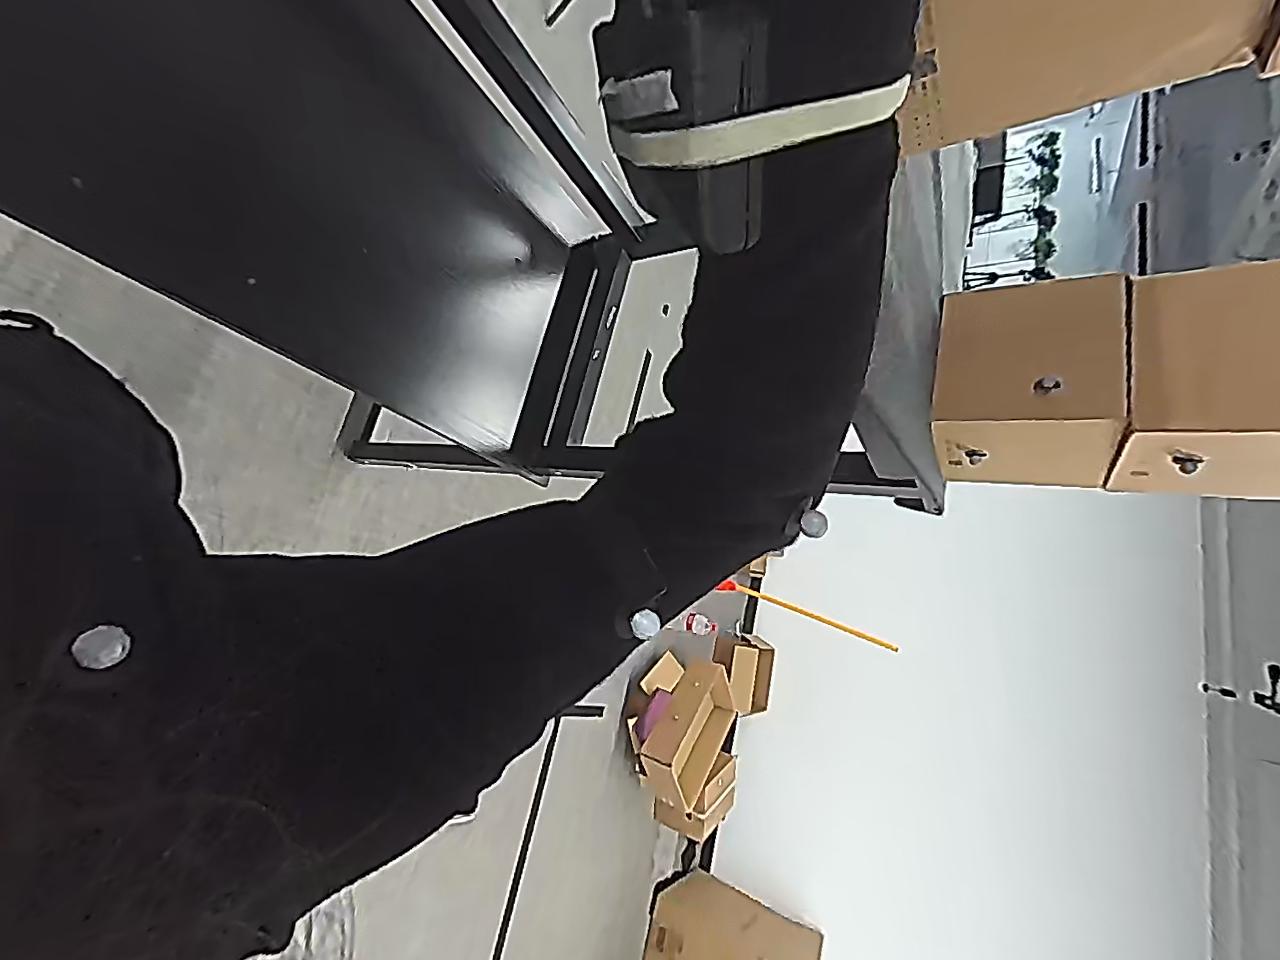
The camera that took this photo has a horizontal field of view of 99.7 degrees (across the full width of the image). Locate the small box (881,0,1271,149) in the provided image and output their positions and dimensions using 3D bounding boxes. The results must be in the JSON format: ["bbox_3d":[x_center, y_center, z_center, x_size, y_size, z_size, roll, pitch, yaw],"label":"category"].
[{"bbox_3d":[0.222,-0.320,0.282,0.168,0.176,0.179,33,64,-53],"label":"small box"}]

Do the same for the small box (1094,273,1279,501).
[{"bbox_3d":[0.579,-0.090,0.542,0.168,0.176,0.179,34,66,-51],"label":"small box"}]
